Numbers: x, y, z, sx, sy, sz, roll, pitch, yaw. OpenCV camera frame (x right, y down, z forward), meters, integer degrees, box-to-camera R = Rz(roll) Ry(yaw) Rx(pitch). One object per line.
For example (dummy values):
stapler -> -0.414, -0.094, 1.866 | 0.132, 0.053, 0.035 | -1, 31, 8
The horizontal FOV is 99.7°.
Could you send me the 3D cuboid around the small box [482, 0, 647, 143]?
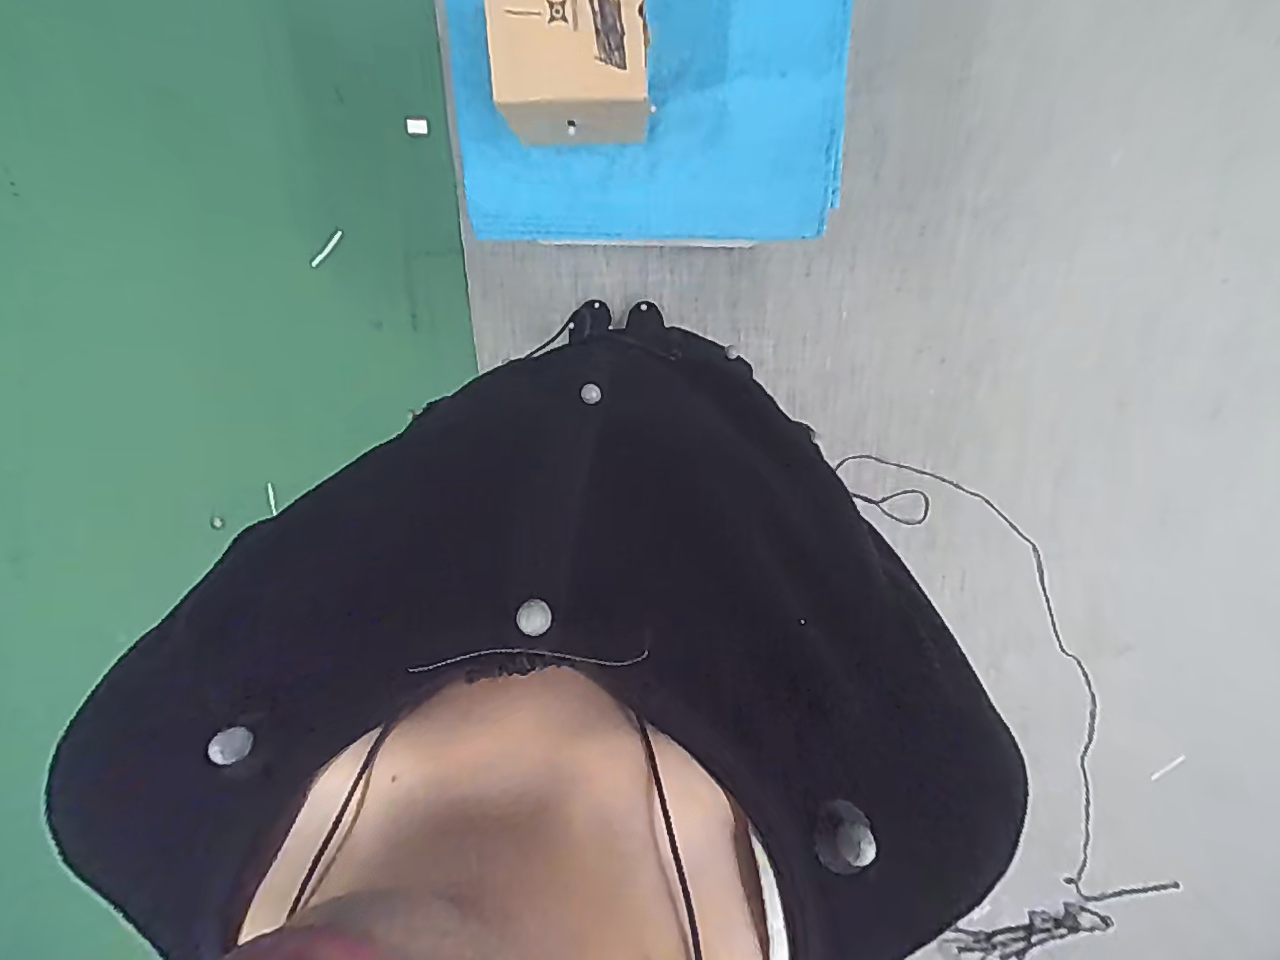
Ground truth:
small box -> -0.082, -0.523, 0.650 | 0.179, 0.176, 0.168 | -1, 107, 0
